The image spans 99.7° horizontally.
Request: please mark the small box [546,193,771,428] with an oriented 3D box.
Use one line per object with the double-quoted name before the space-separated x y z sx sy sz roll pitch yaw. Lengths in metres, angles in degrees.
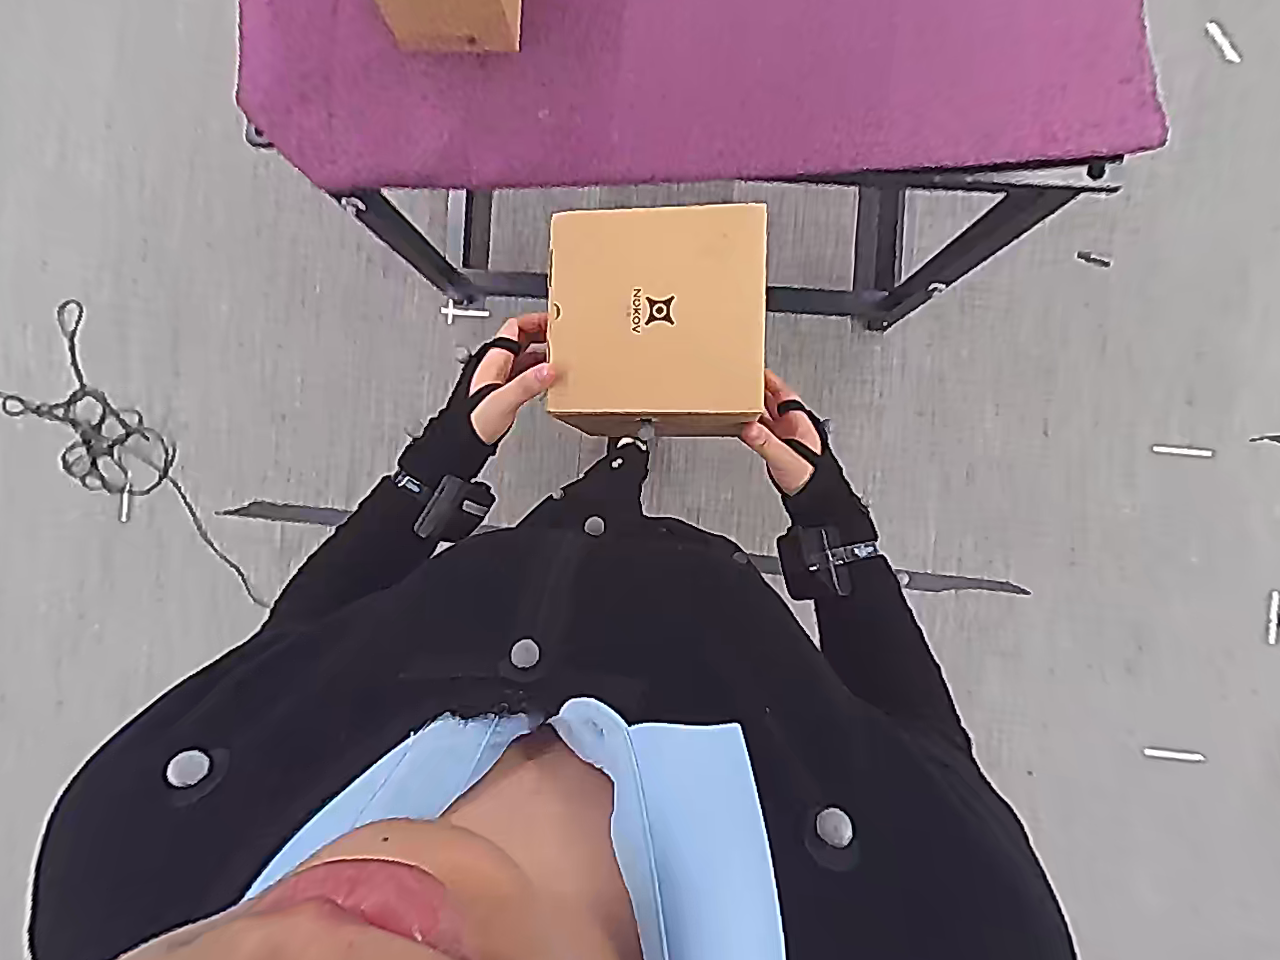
"small box" 0.022 -0.141 0.504 0.179 0.176 0.168 1 89 8
